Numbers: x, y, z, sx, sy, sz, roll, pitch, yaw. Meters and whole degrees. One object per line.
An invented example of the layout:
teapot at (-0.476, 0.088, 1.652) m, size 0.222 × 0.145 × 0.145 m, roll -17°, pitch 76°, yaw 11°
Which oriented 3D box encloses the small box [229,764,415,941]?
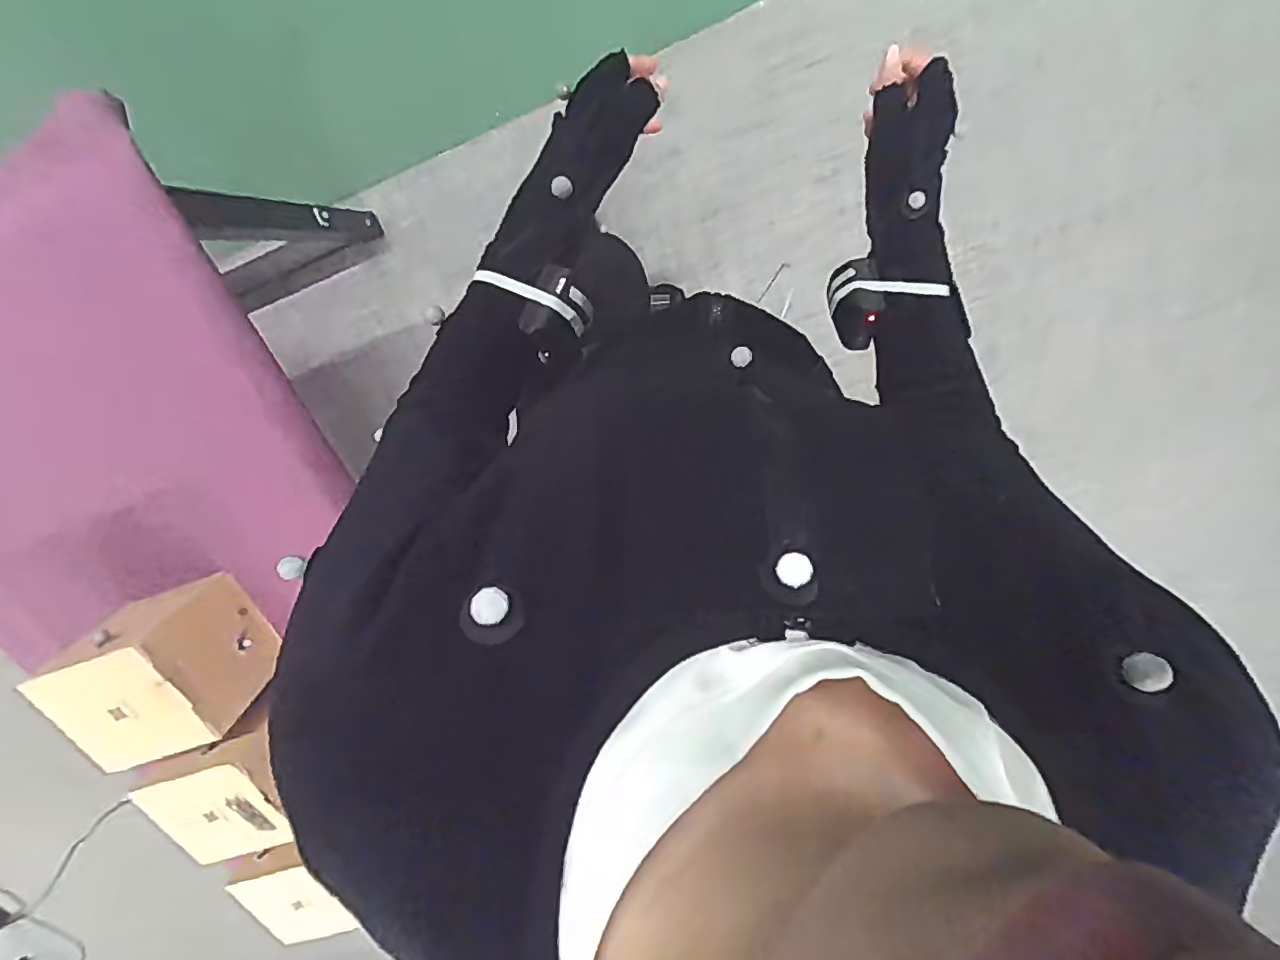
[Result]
small box at (-0.518, 0.619, 0.910) m, size 0.179 × 0.176 × 0.168 m, roll -19°, pitch 112°, yaw 7°
